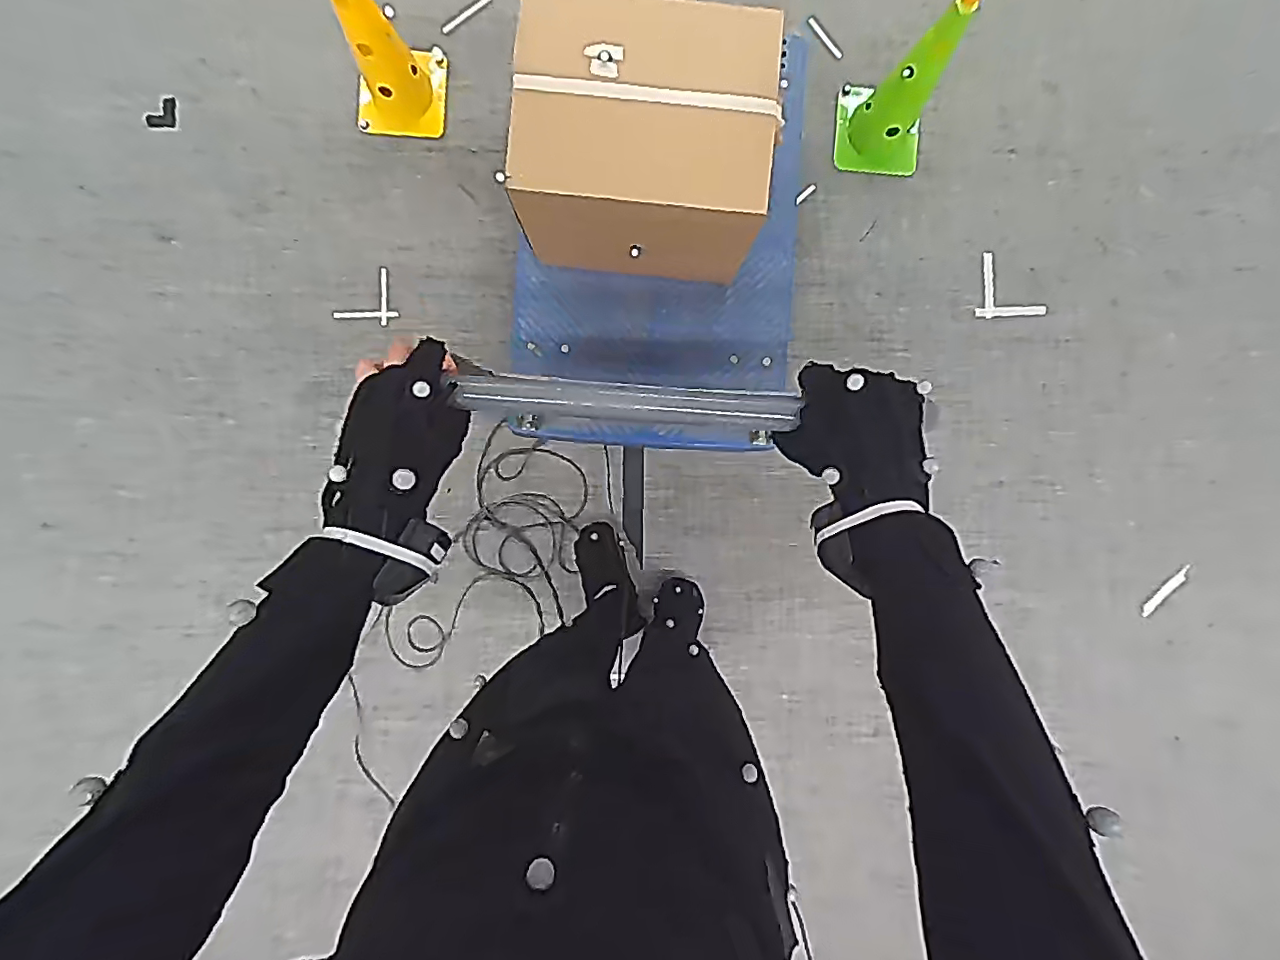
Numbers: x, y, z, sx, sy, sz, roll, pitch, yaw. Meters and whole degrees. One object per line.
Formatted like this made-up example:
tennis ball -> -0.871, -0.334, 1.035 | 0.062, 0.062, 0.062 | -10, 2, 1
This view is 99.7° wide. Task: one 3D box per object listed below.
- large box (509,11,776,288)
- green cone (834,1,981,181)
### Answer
large box -> 0.005, -0.565, 0.991 | 0.408, 0.320, 0.320 | 6, 91, 0
green cone -> 0.578, -0.831, 1.140 | 0.202, 0.368, 0.200 | 4, 90, -2
